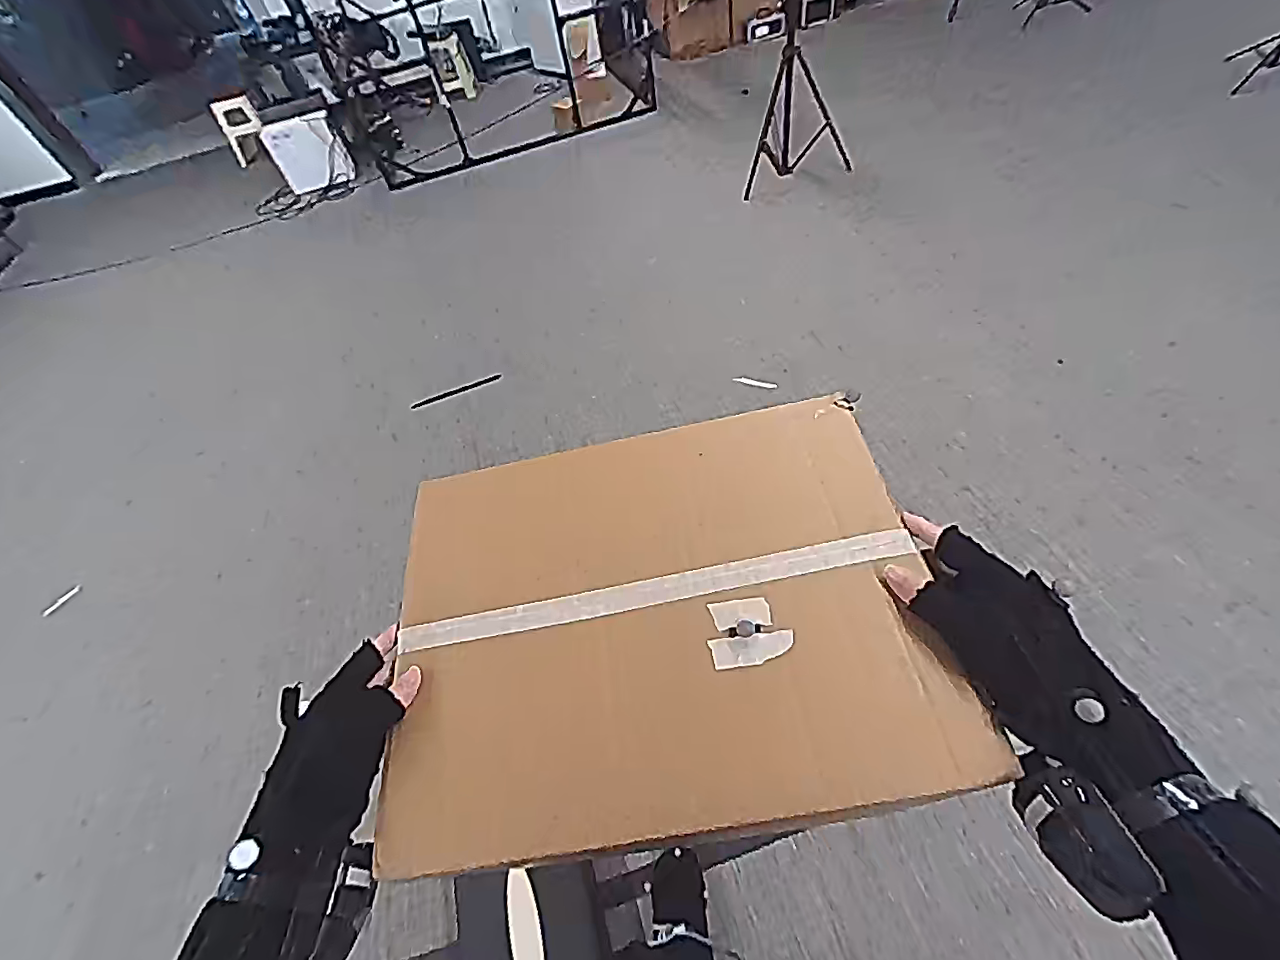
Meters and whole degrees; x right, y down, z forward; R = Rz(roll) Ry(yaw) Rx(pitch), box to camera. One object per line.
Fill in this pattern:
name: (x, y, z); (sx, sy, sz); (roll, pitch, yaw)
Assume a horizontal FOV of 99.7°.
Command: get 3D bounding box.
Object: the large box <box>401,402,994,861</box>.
large box: (0.035, 0.171, 0.556); (0.408, 0.320, 0.320); (-11, 56, 3)
